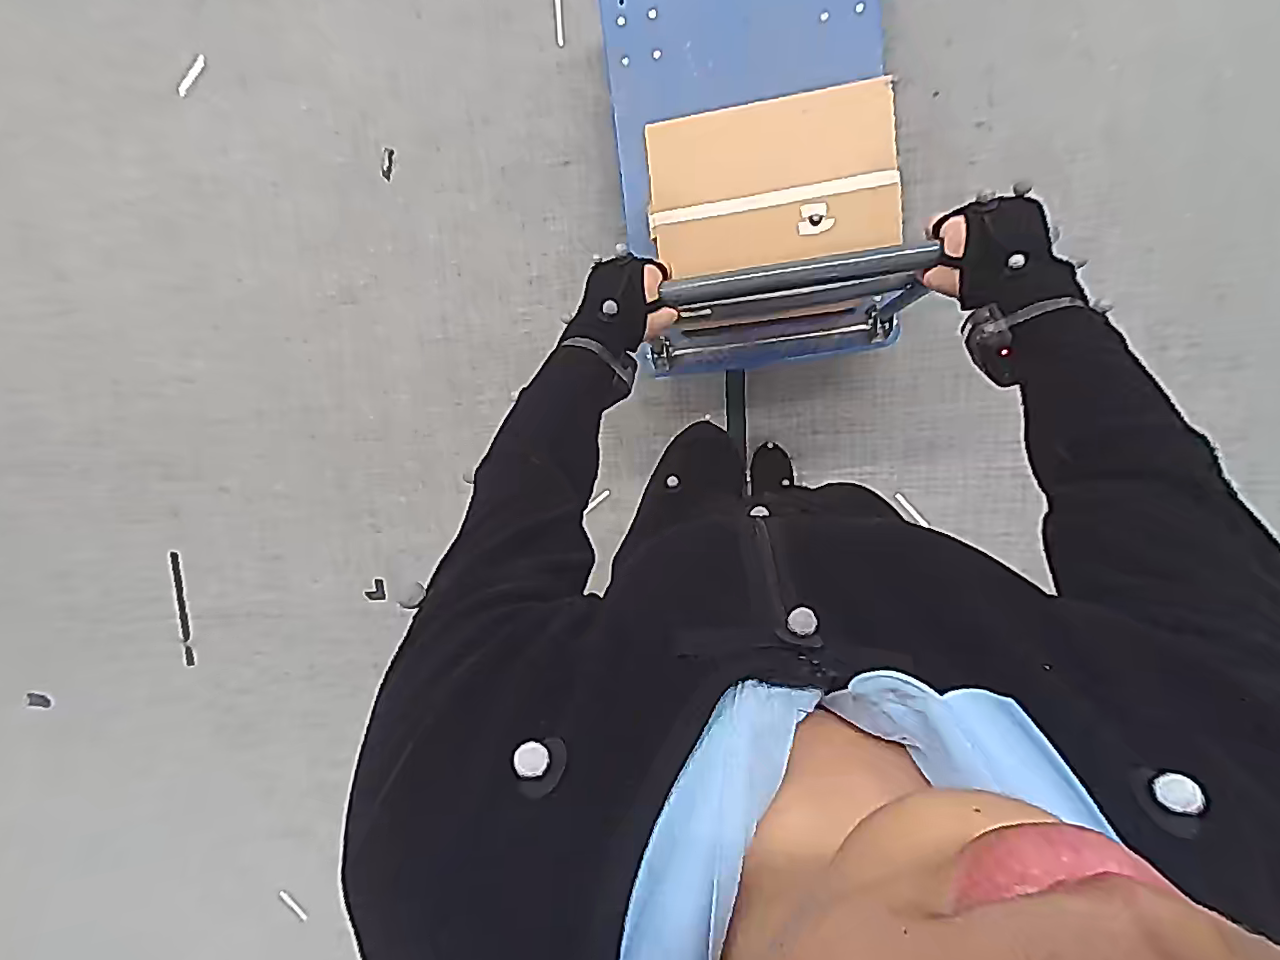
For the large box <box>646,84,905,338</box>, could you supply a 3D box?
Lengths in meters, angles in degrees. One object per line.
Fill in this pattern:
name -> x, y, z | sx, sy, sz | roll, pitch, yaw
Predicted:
large box -> 0.242, -0.476, 1.048 | 0.408, 0.320, 0.320 | -6, 98, 8
